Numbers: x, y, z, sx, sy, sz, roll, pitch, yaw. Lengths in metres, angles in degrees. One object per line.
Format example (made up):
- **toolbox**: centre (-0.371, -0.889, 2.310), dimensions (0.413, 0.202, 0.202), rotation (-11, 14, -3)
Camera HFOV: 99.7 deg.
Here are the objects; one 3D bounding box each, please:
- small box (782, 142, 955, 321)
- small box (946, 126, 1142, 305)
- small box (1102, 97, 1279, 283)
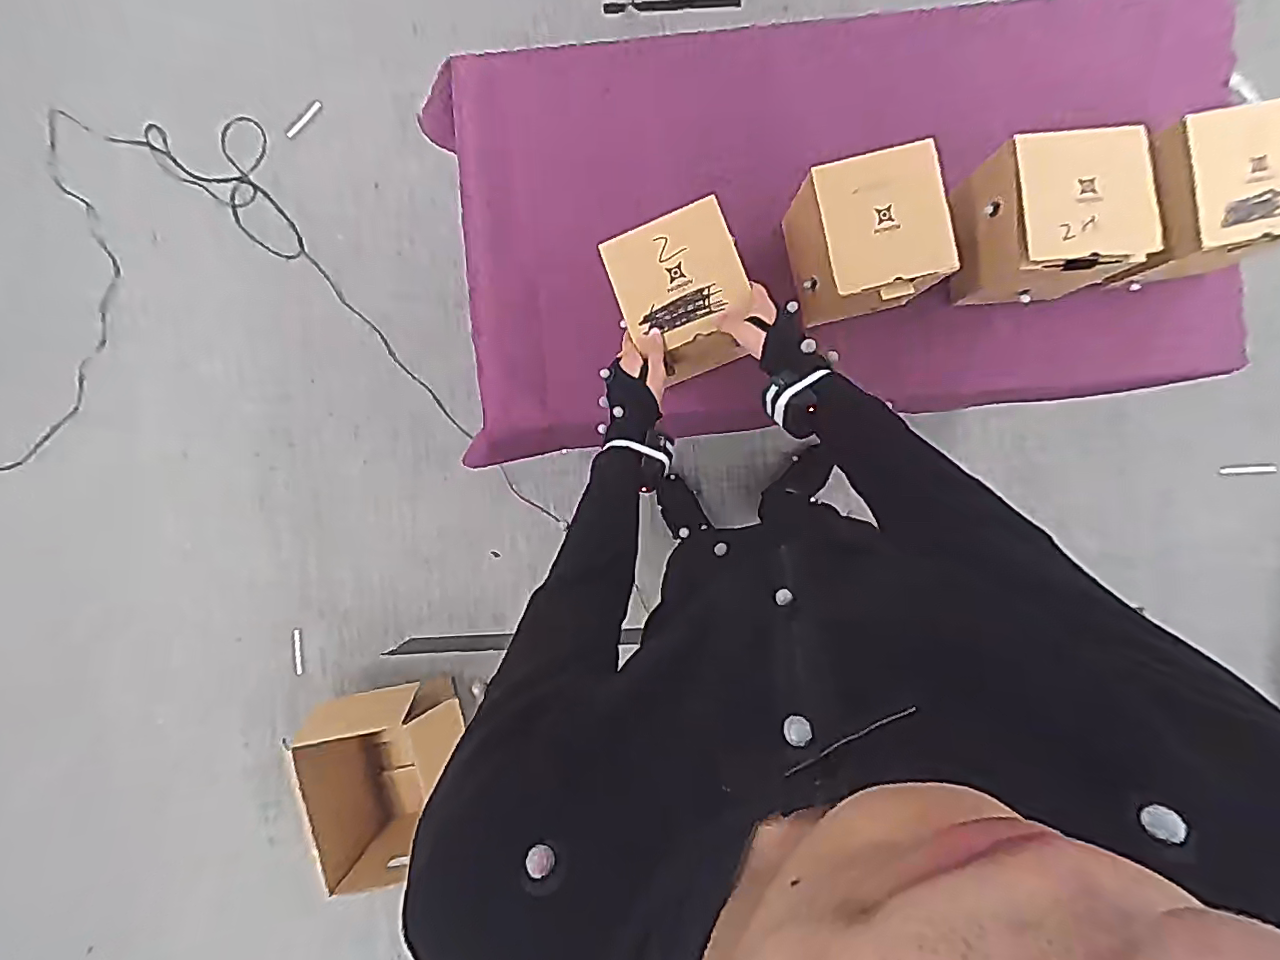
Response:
- **small box**: centre (0.321, -0.344, 0.790), dimensions (0.168, 0.176, 0.179), rotation (-13, 91, 2)
- **small box**: centre (0.566, -0.368, 0.780), dimensions (0.168, 0.176, 0.179), rotation (-3, 92, 2)
- **small box**: centre (0.784, -0.398, 0.773), dimensions (0.168, 0.176, 0.179), rotation (-9, 90, 2)
